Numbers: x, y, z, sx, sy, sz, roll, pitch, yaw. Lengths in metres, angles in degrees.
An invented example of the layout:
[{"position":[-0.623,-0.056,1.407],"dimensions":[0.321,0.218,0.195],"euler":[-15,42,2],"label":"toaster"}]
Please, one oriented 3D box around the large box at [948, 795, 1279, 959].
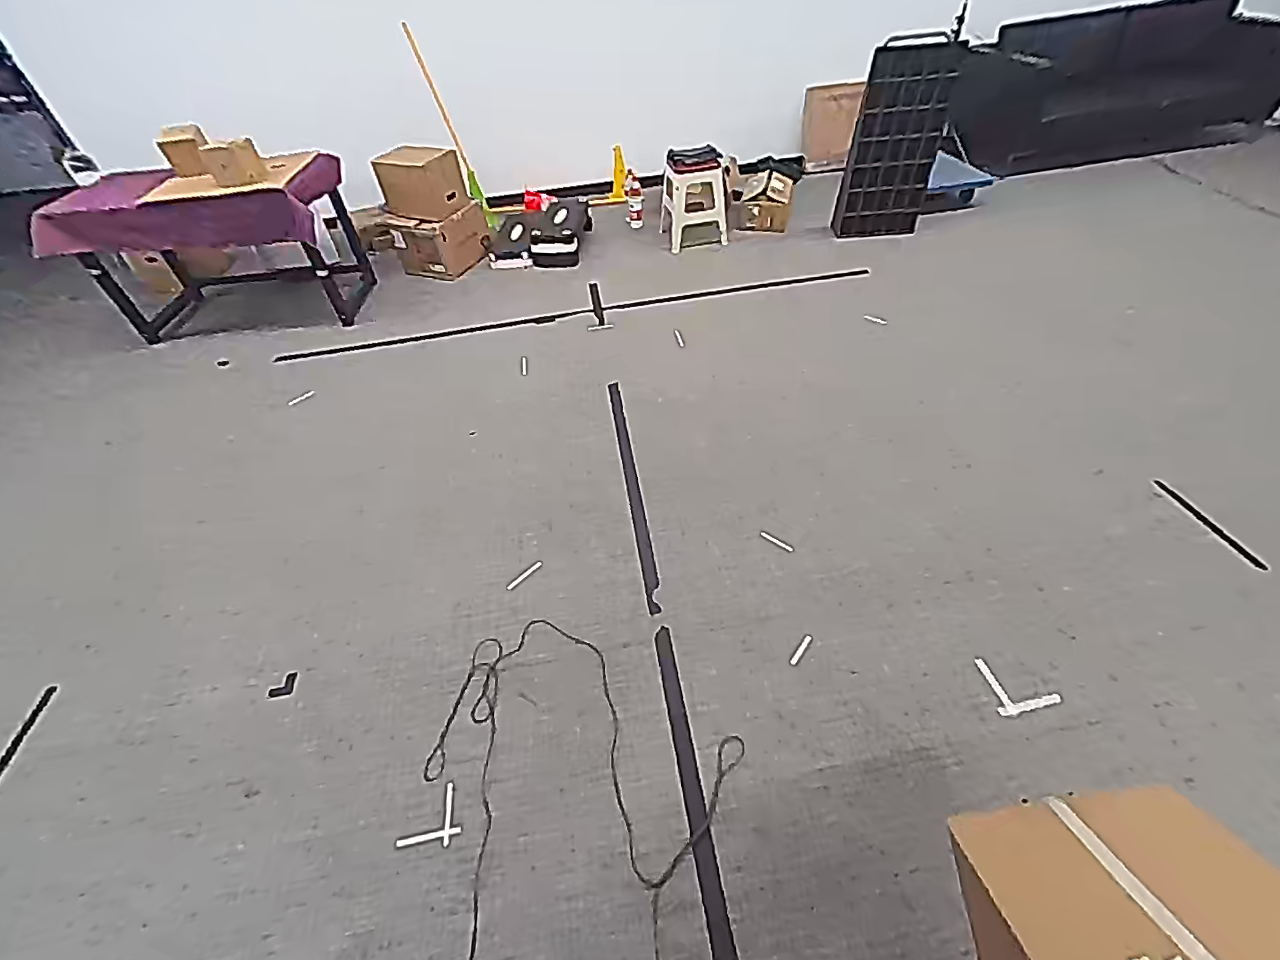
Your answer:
[{"position":[0.627,0.653,0.615],"dimensions":[0.320,0.320,0.408],"euler":[-15,4,7],"label":"large box"}]
